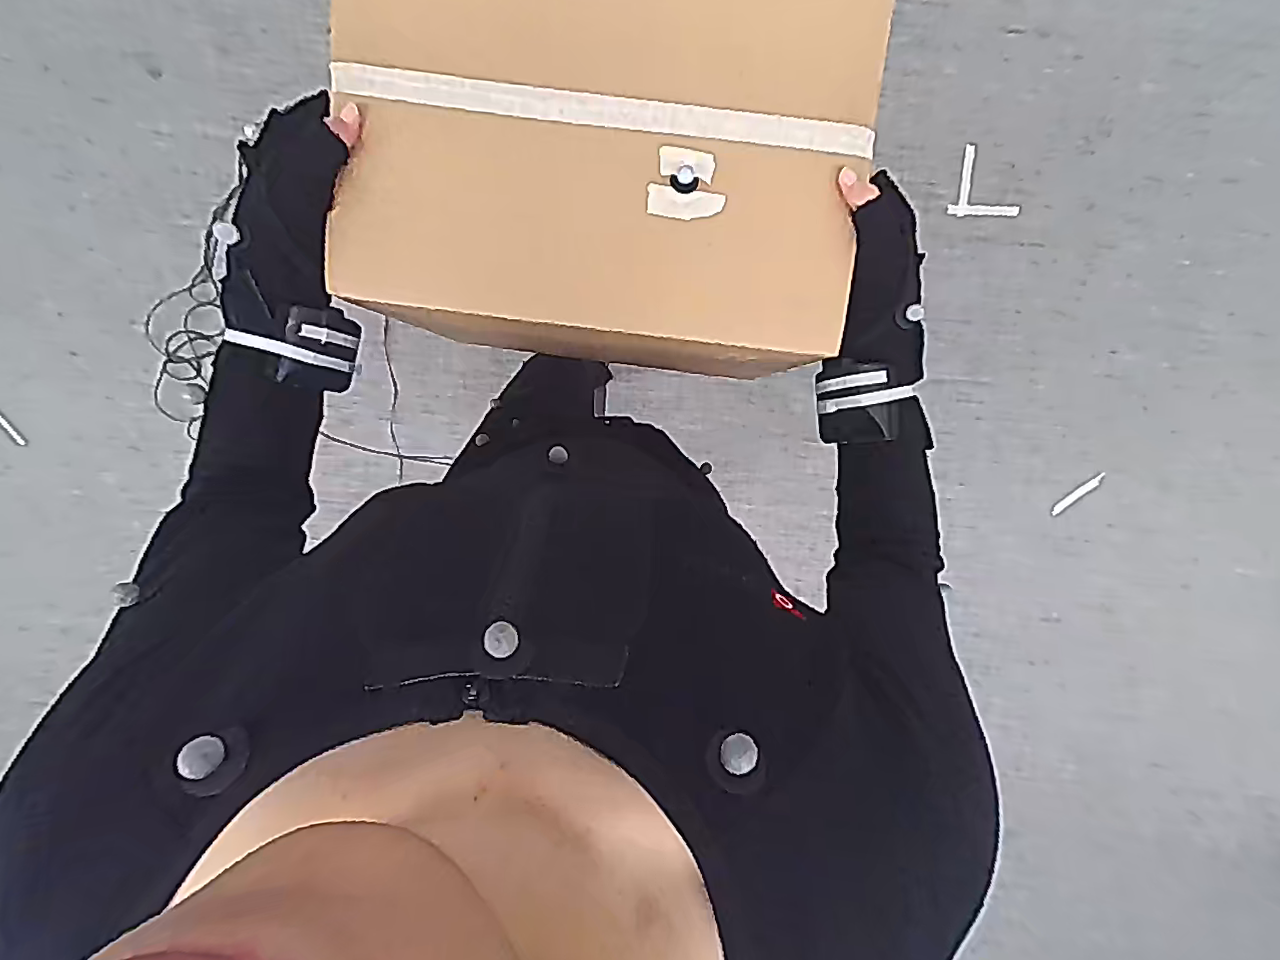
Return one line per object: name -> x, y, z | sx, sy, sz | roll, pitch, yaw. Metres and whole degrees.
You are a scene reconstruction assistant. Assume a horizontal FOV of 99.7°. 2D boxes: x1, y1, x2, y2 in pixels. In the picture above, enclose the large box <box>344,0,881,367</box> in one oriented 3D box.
large box -> -0.027, -0.305, 0.564 | 0.408, 0.320, 0.320 | 6, 97, -1
